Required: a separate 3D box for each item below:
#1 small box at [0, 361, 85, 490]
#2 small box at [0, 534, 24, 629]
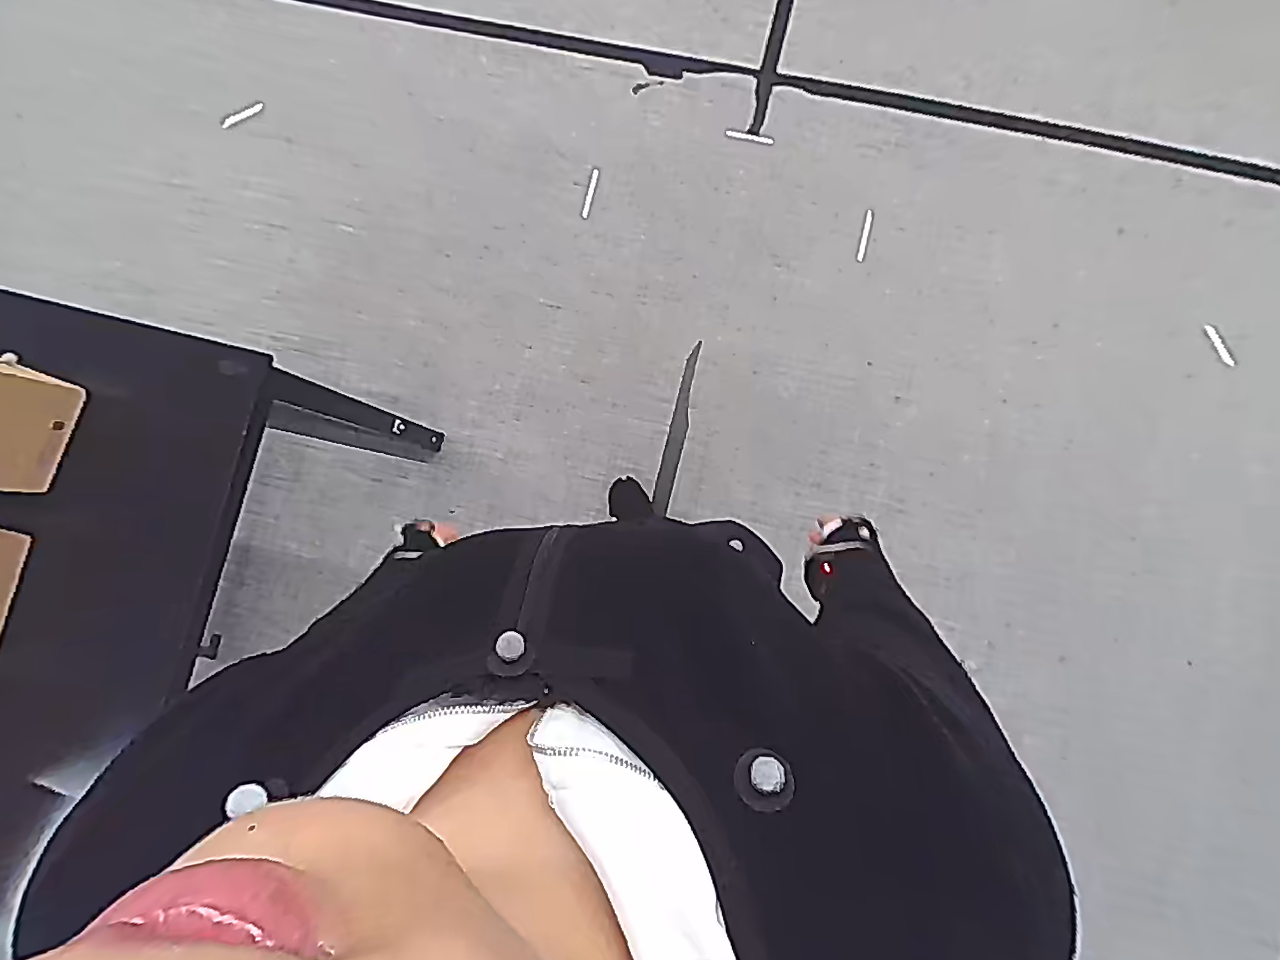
[{"bbox_3d":[-0.938,-0.090,0.731,0.179,0.176,0.168,19,86,4],"label":"small box"},{"bbox_3d":[-0.997,0.144,0.715,0.168,0.176,0.179,14,86,4],"label":"small box"}]
